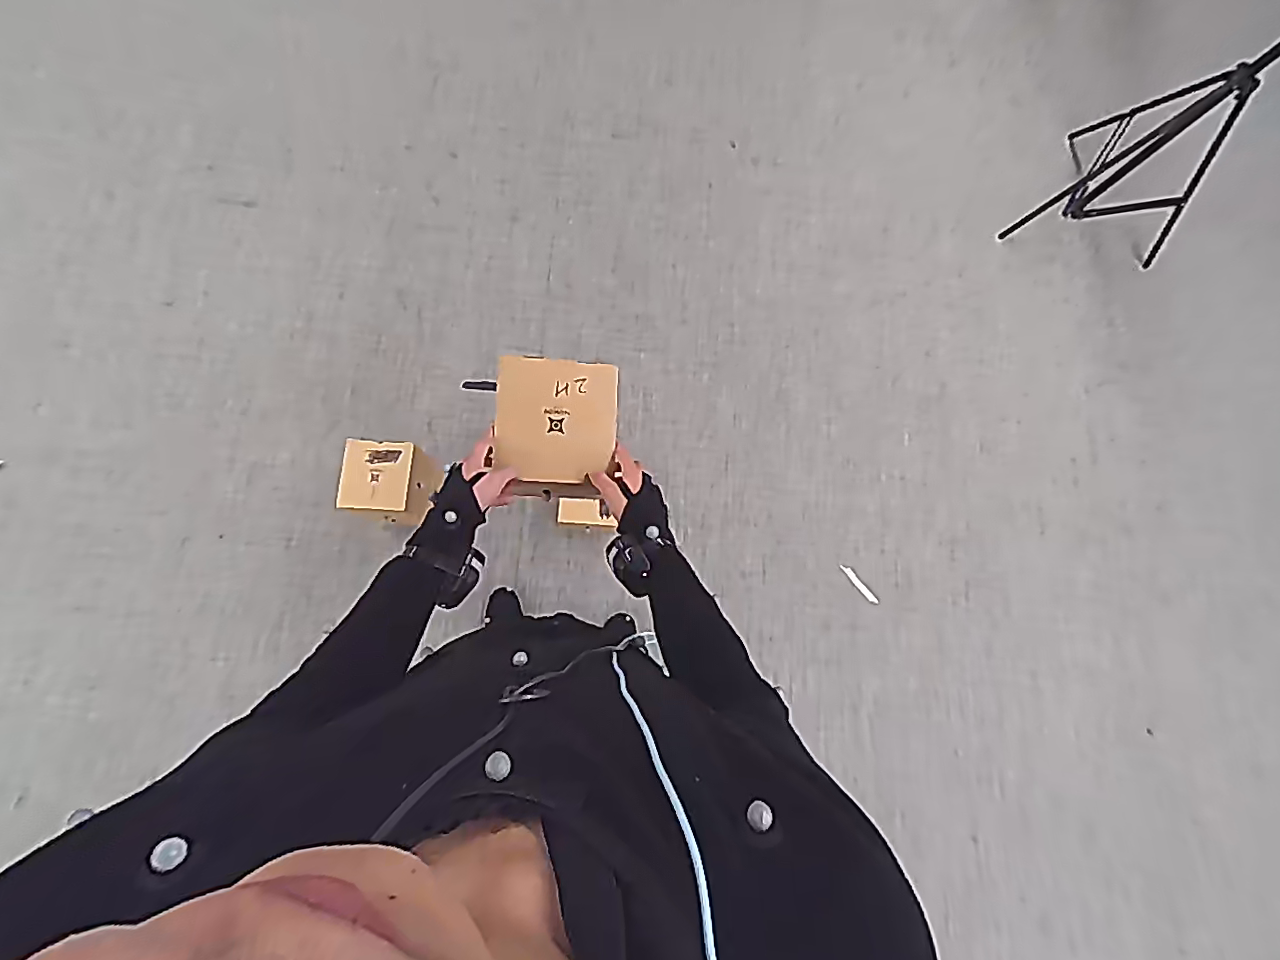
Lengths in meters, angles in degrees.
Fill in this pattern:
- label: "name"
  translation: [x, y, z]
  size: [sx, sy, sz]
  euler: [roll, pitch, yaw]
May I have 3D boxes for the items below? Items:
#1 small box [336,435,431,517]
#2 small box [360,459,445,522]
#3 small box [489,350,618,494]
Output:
- label: "small box"
  translation: [-0.654, -0.006, 1.402]
  size: [0.168, 0.176, 0.179]
  euler: [4, 79, -4]
- label: "small box"
  translation: [-0.676, 0.028, 1.561]
  size: [0.179, 0.176, 0.168]
  euler: [3, 79, -4]
- label: "small box"
  translation: [-0.130, -0.074, 0.810]
  size: [0.168, 0.176, 0.179]
  euler: [3, 81, -12]
